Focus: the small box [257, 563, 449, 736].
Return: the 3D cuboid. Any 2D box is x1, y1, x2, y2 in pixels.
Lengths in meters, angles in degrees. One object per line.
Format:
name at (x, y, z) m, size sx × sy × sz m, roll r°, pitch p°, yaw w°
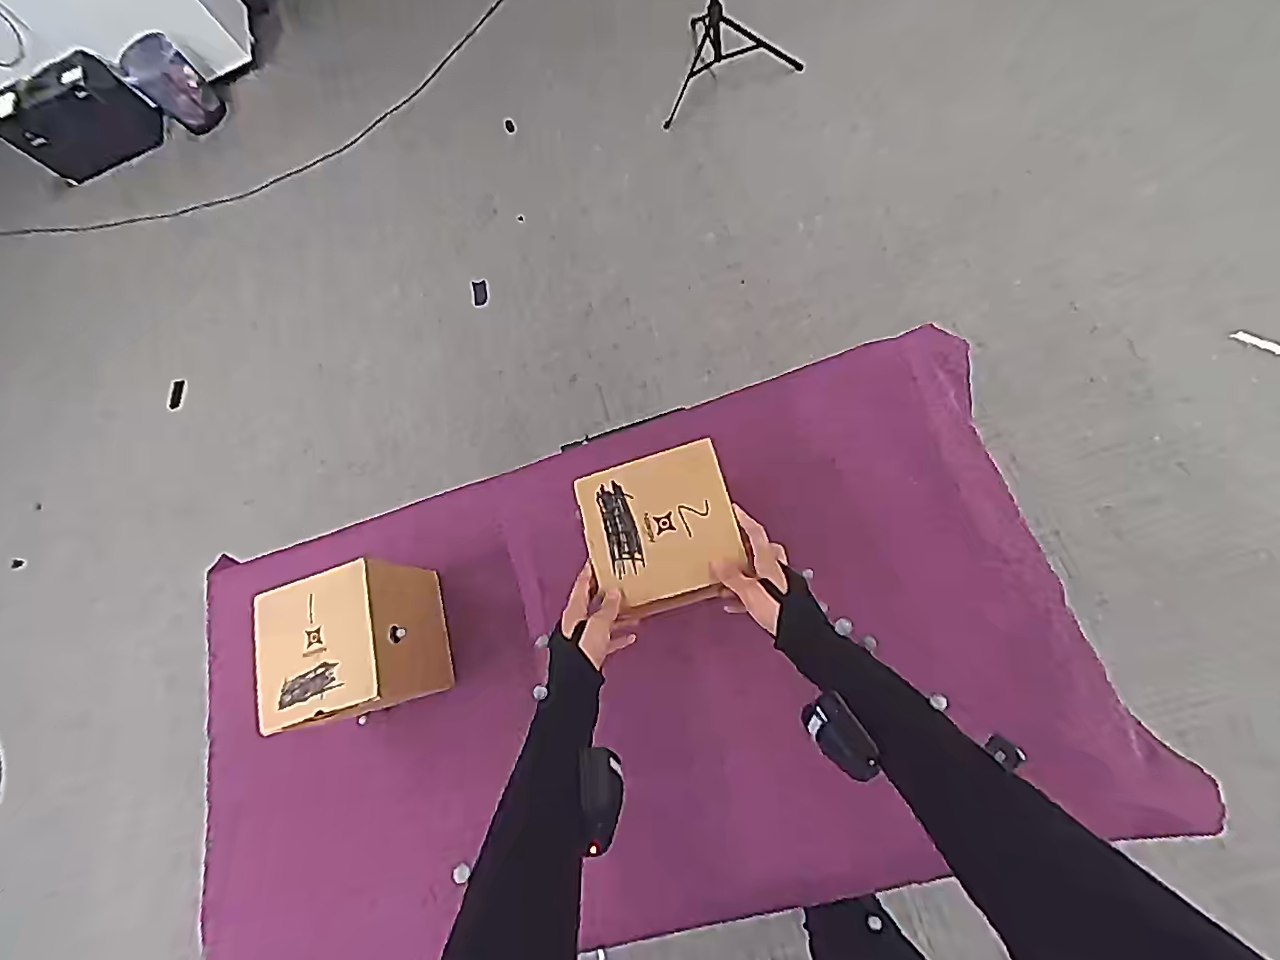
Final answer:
small box at (-0.386, 0.229, 0.748) m, size 0.168 × 0.176 × 0.179 m, roll -19°, pitch 71°, yaw 7°
